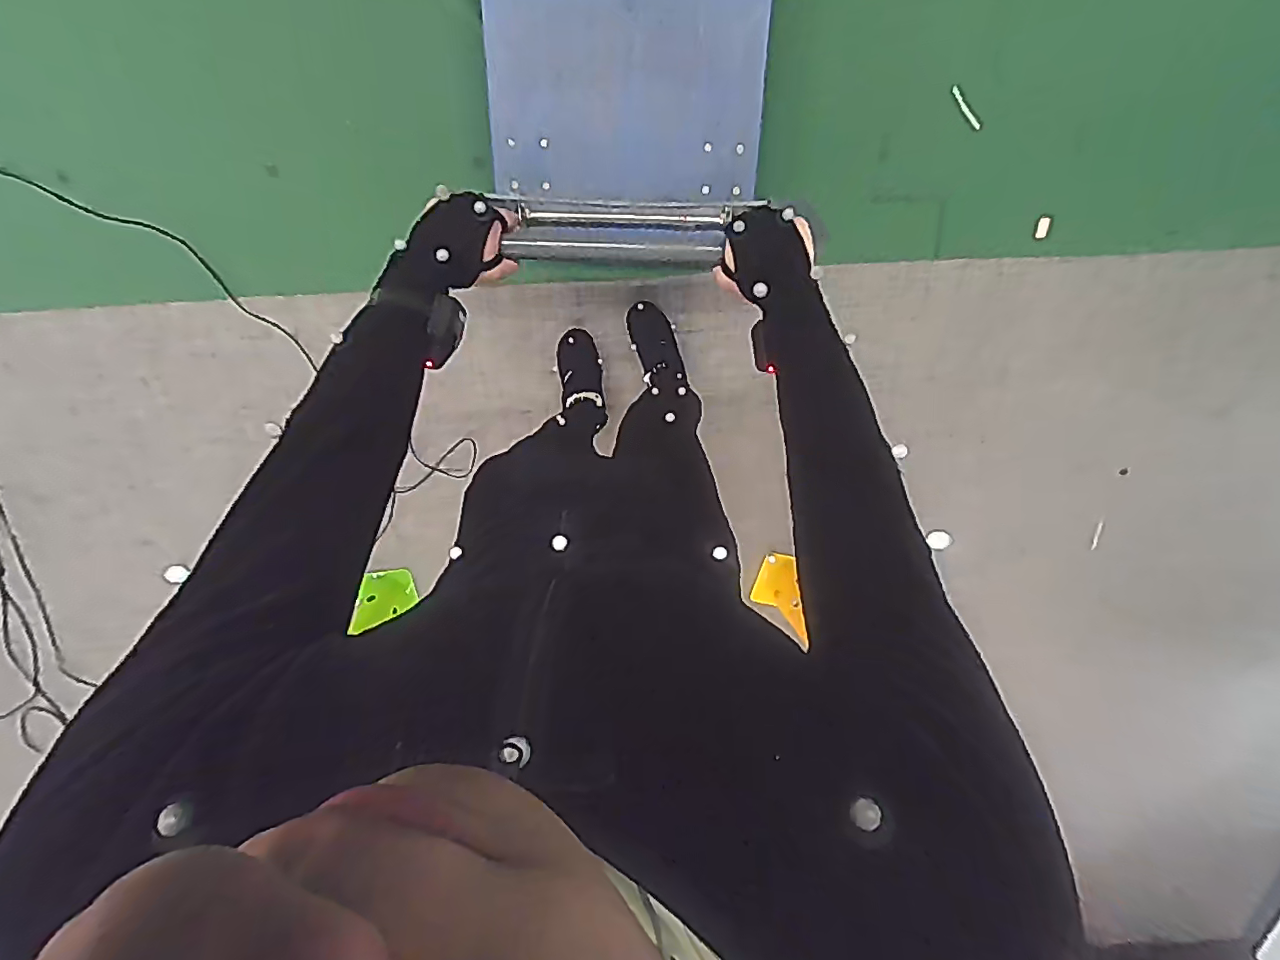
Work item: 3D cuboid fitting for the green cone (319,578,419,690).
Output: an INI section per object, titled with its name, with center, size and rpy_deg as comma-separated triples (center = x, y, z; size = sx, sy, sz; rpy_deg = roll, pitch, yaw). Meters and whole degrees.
[green cone]
center = -0.844, 0.478, 1.622
size = 0.202, 0.368, 0.200
rpy_deg = -6, 113, 2
